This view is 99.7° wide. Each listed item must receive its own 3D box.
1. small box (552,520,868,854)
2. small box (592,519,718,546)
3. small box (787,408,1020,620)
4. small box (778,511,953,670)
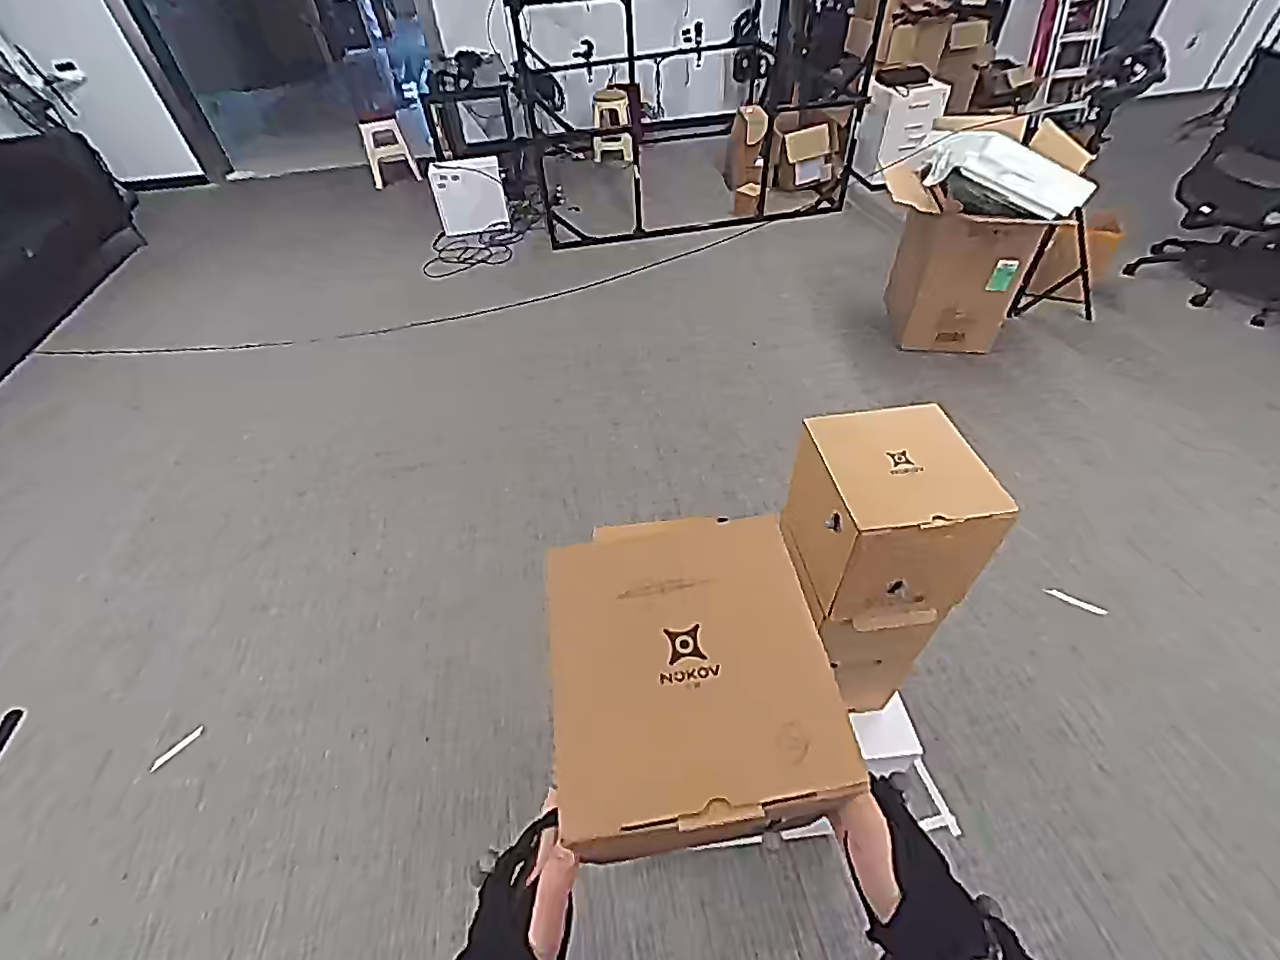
[{"bbox_3d":[0.034,0.155,0.391,0.168,0.176,0.179,-8,52,-3],"label":"small box"},{"bbox_3d":[0.031,0.176,0.749,0.179,0.176,0.168,-5,47,-1],"label":"small box"},{"bbox_3d":[0.284,0.040,0.638,0.168,0.176,0.179,-7,47,-3],"label":"small box"},{"bbox_3d":[0.292,0.151,0.757,0.168,0.176,0.179,-7,46,-2],"label":"small box"}]
